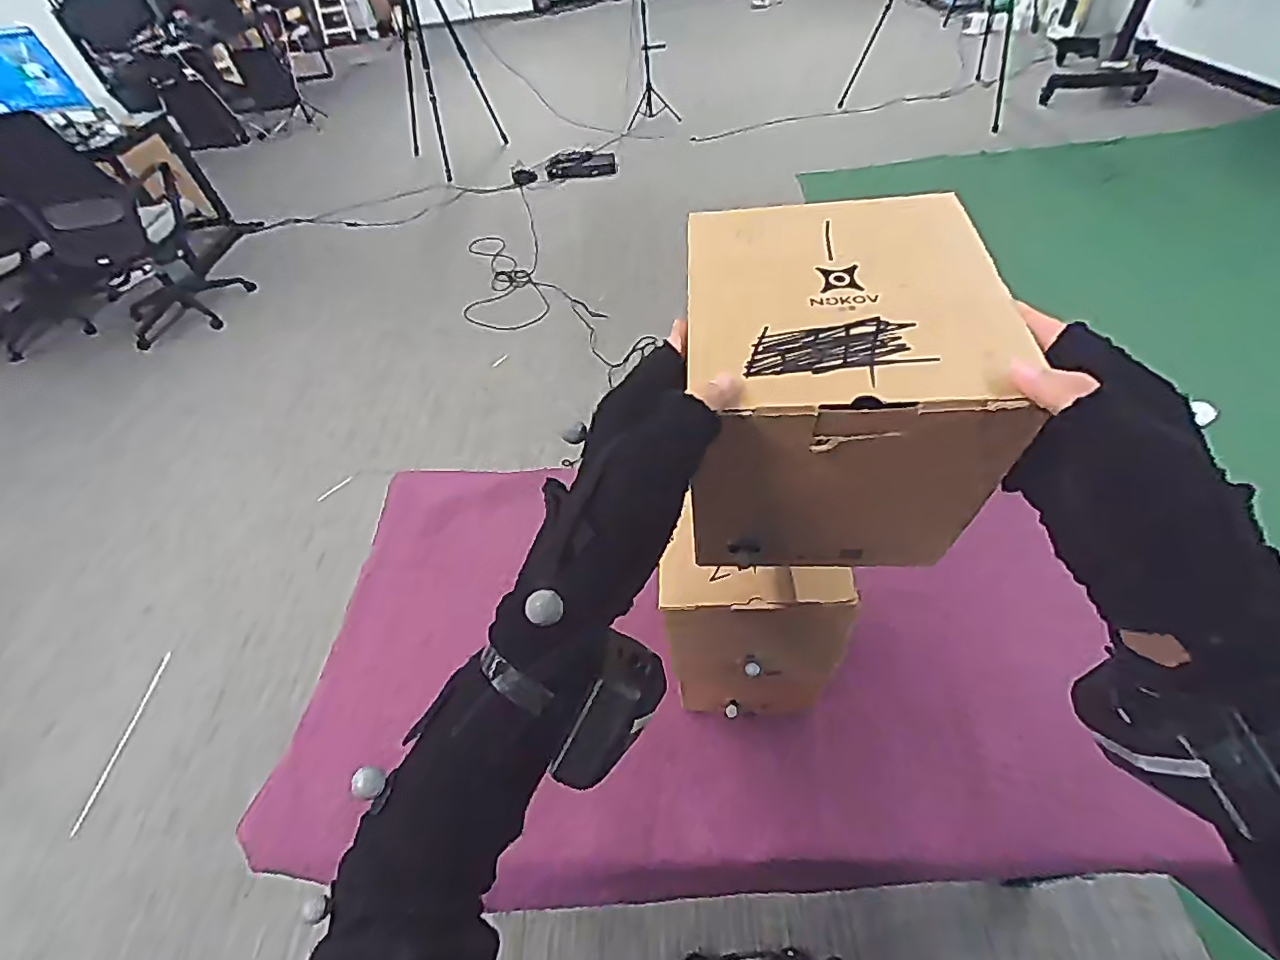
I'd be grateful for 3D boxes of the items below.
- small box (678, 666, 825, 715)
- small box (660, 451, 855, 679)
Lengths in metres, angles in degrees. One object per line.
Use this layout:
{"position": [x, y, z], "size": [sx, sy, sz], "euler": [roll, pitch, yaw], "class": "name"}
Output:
{"position": [0.135, 0.185, 0.703], "size": [0.168, 0.176, 0.179], "euler": [-2, 50, 8], "class": "small box"}
{"position": [0.111, 0.091, 0.570], "size": [0.168, 0.176, 0.179], "euler": [-3, 49, 7], "class": "small box"}
